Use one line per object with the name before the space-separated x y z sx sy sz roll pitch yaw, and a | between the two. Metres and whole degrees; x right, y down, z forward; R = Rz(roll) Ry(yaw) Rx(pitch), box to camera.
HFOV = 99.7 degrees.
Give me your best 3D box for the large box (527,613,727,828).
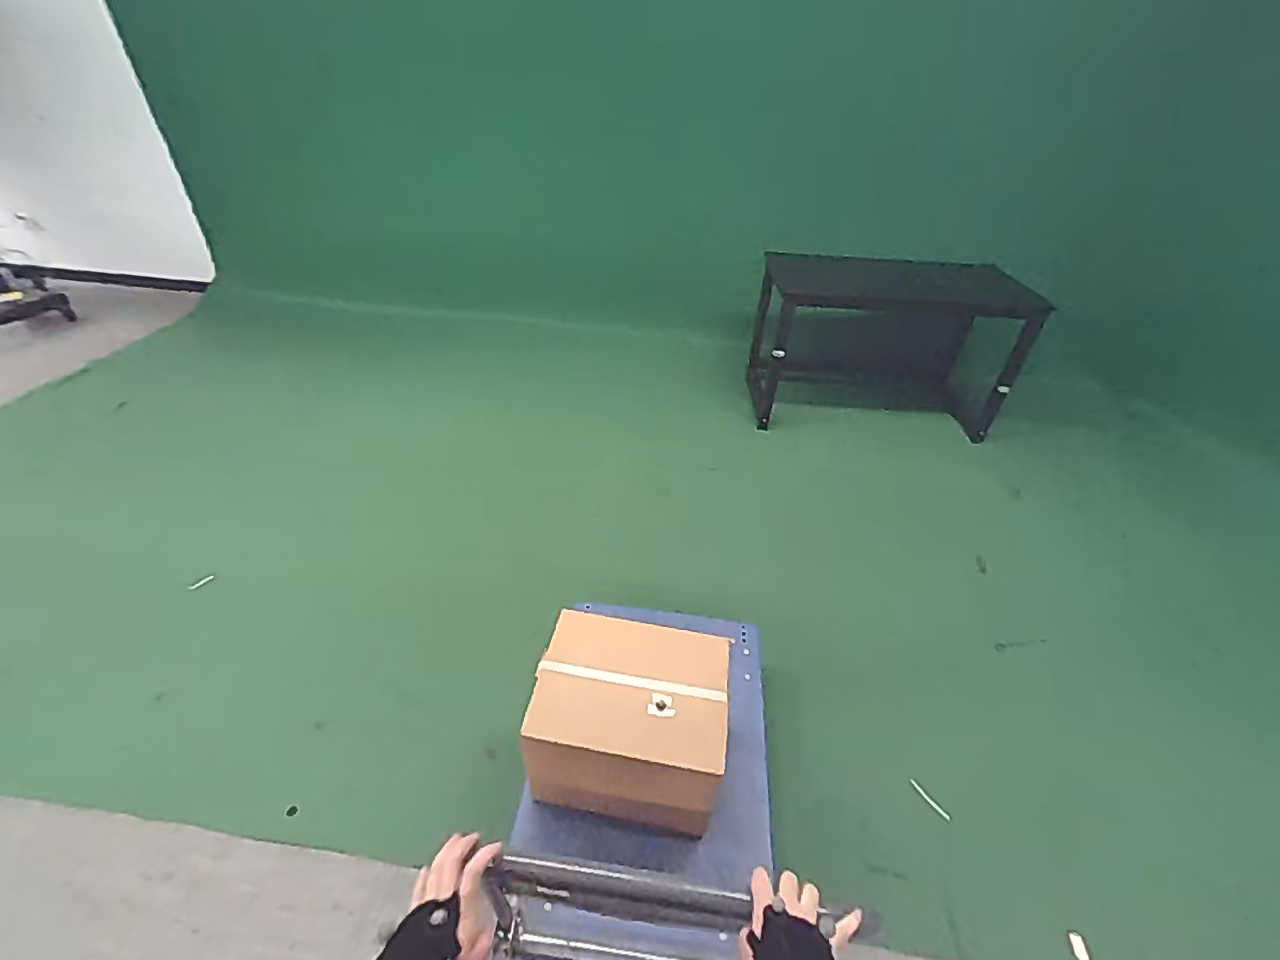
large box | -0.024 0.557 1.267 0.408 0.320 0.320 9 39 5
